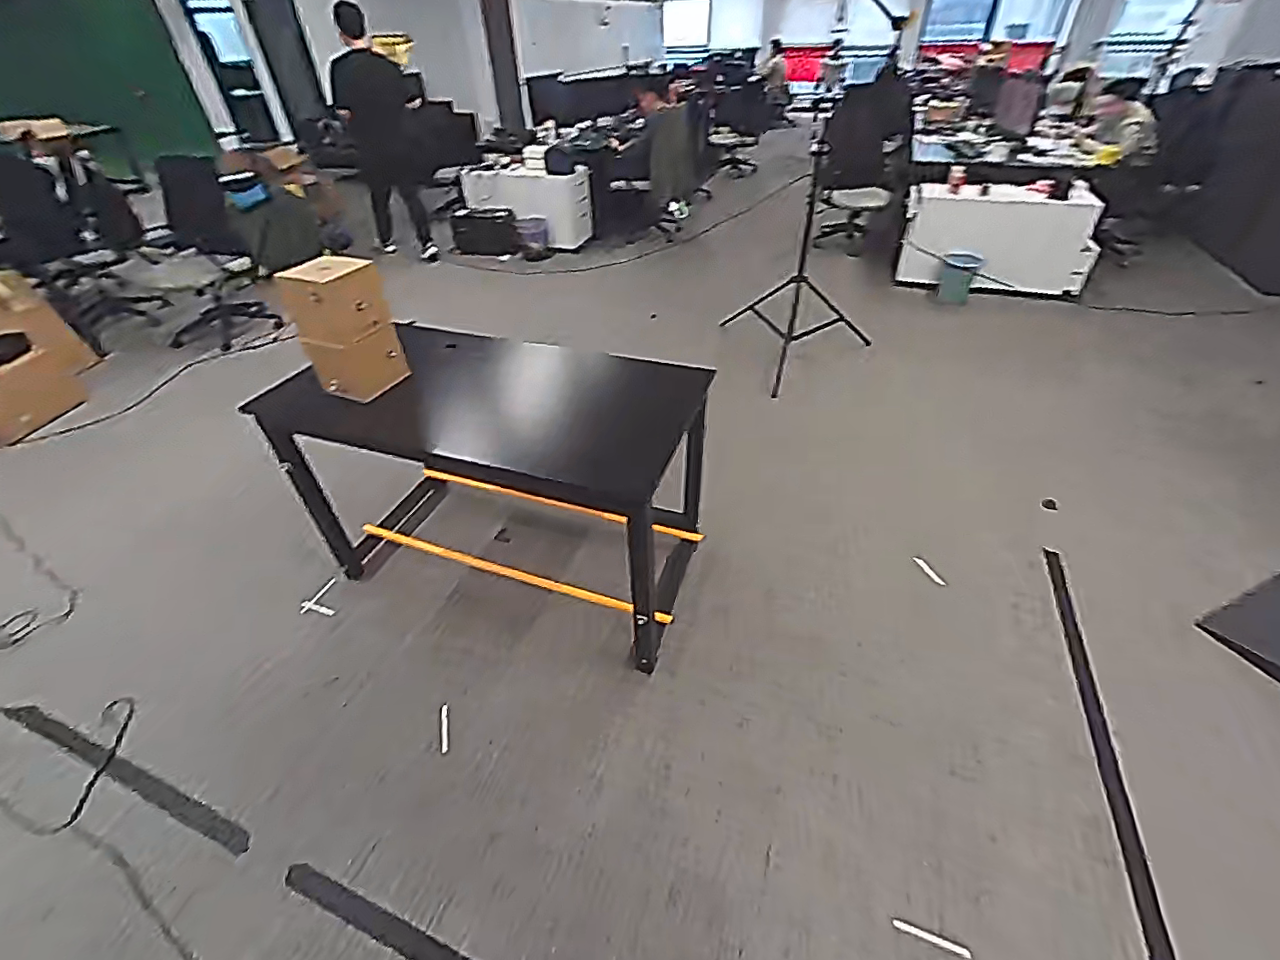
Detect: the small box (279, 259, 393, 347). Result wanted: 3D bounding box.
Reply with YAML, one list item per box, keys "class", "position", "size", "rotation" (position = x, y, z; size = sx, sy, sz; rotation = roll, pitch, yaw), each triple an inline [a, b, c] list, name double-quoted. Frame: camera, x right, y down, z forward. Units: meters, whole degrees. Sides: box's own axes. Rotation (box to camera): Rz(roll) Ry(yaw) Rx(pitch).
- class: "small box"
  position: [-0.794, -0.469, 1.433]
  size: [0.179, 0.176, 0.168]
  rotation: [14, 42, 19]

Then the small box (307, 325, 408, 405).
- class: "small box"
  position: [-0.787, -0.337, 1.532]
  size: [0.168, 0.176, 0.179]
  rotation: [13, 43, 19]
